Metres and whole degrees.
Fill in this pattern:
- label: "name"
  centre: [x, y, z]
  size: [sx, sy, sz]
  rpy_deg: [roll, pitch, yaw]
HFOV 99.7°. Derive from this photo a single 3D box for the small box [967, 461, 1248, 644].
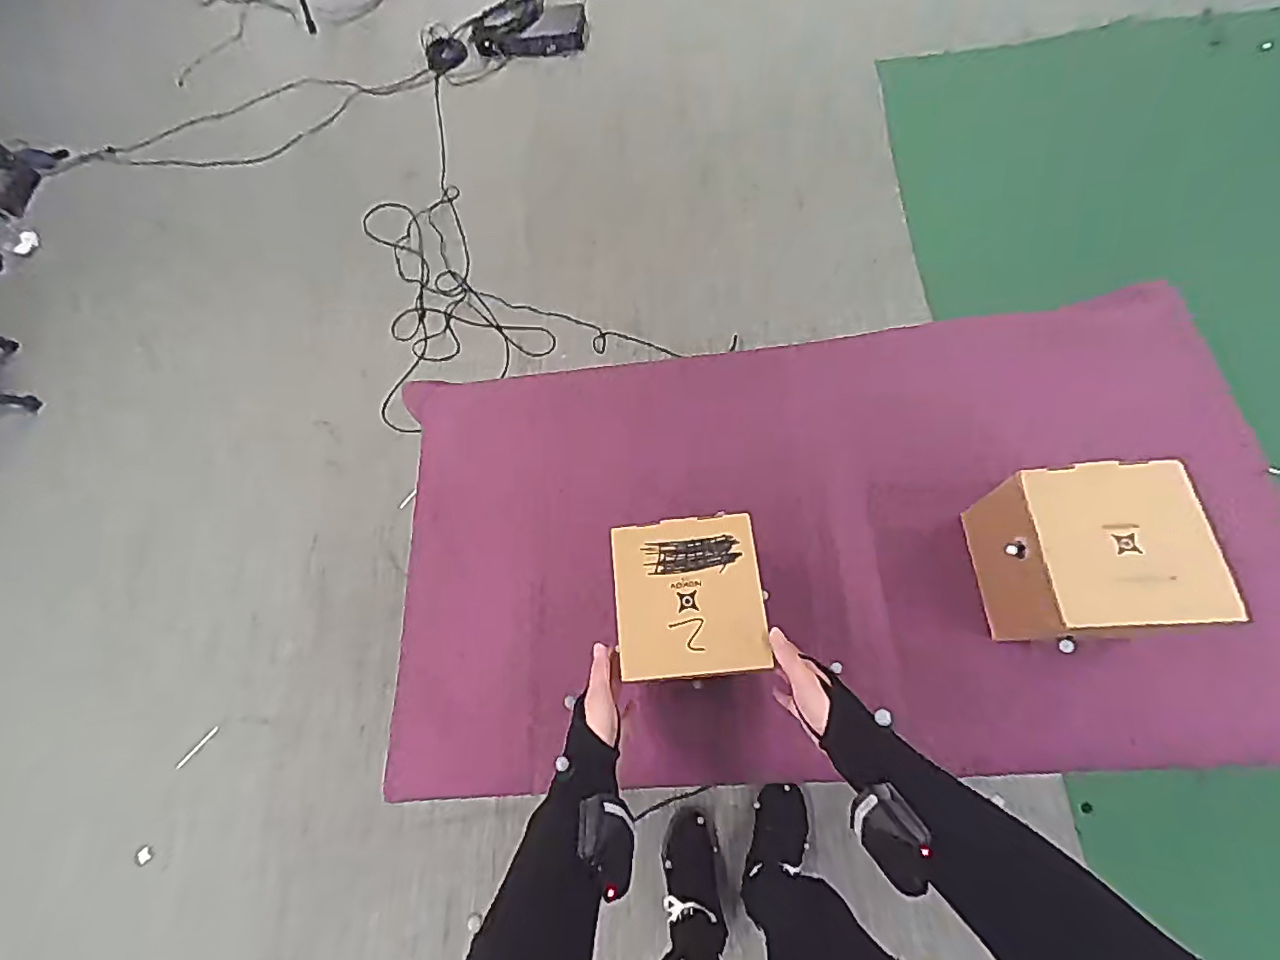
- label: "small box"
  centre: [0.514, 0.093, 0.633]
  size: [0.168, 0.176, 0.179]
  rpy_deg: [-4, 68, 8]
